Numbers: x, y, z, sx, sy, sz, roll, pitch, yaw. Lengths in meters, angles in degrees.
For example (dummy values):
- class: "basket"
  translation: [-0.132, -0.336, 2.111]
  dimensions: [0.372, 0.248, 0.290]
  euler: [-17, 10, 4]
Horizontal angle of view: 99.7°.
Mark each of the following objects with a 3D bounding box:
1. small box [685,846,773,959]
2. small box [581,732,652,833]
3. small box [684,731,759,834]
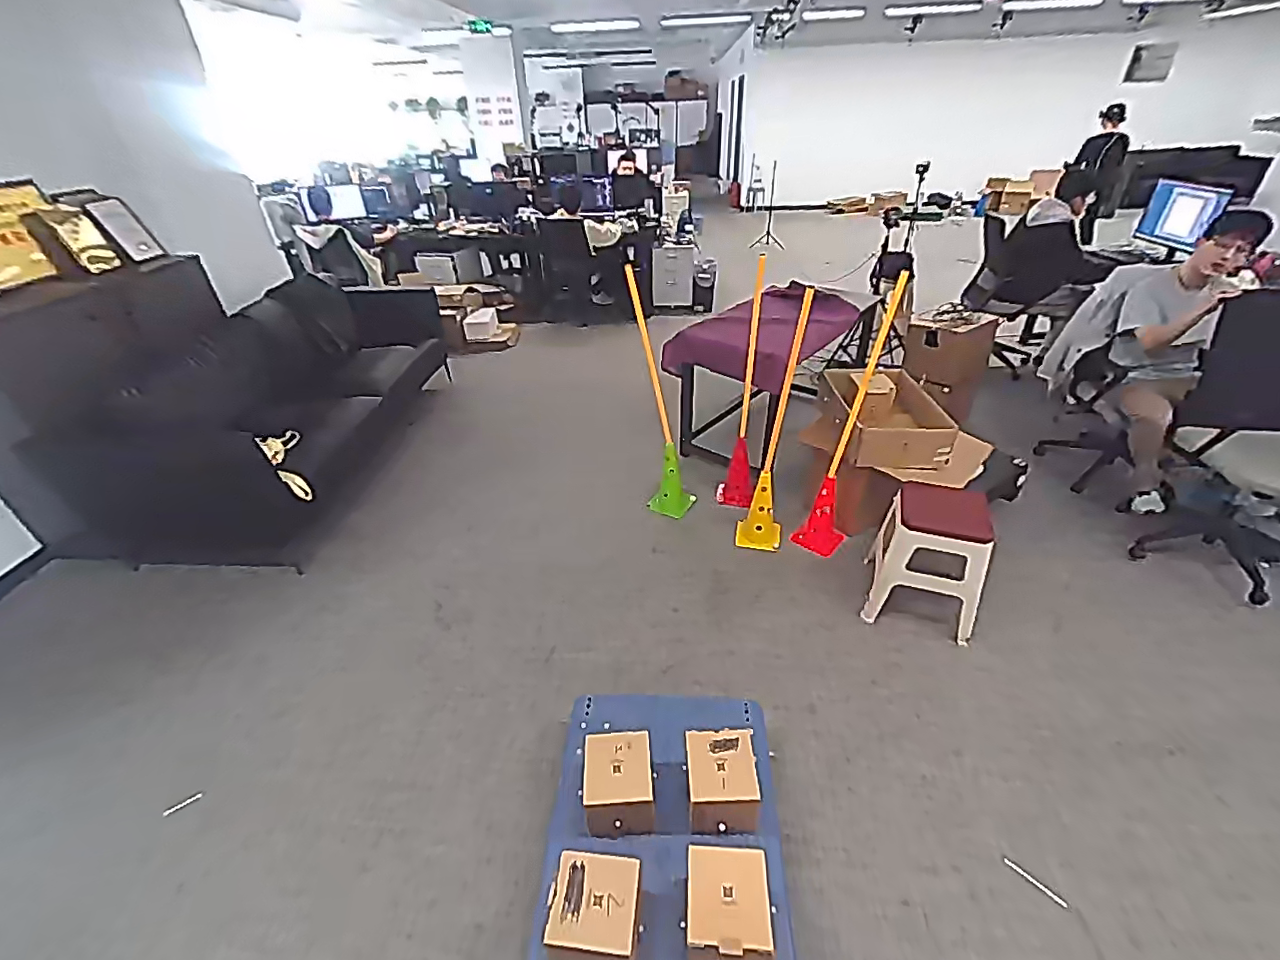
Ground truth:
- class: "small box"
  translation: [0.181, 0.918, 1.149]
  dimensions: [0.168, 0.176, 0.179]
  euler: [0, 34, 5]
- class: "small box"
  translation: [-0.056, 0.773, 1.374]
  dimensions: [0.168, 0.176, 0.179]
  euler: [-3, 34, -2]
- class: "small box"
  translation: [0.199, 0.765, 1.369]
  dimensions: [0.168, 0.176, 0.179]
  euler: [-2, 35, 1]
